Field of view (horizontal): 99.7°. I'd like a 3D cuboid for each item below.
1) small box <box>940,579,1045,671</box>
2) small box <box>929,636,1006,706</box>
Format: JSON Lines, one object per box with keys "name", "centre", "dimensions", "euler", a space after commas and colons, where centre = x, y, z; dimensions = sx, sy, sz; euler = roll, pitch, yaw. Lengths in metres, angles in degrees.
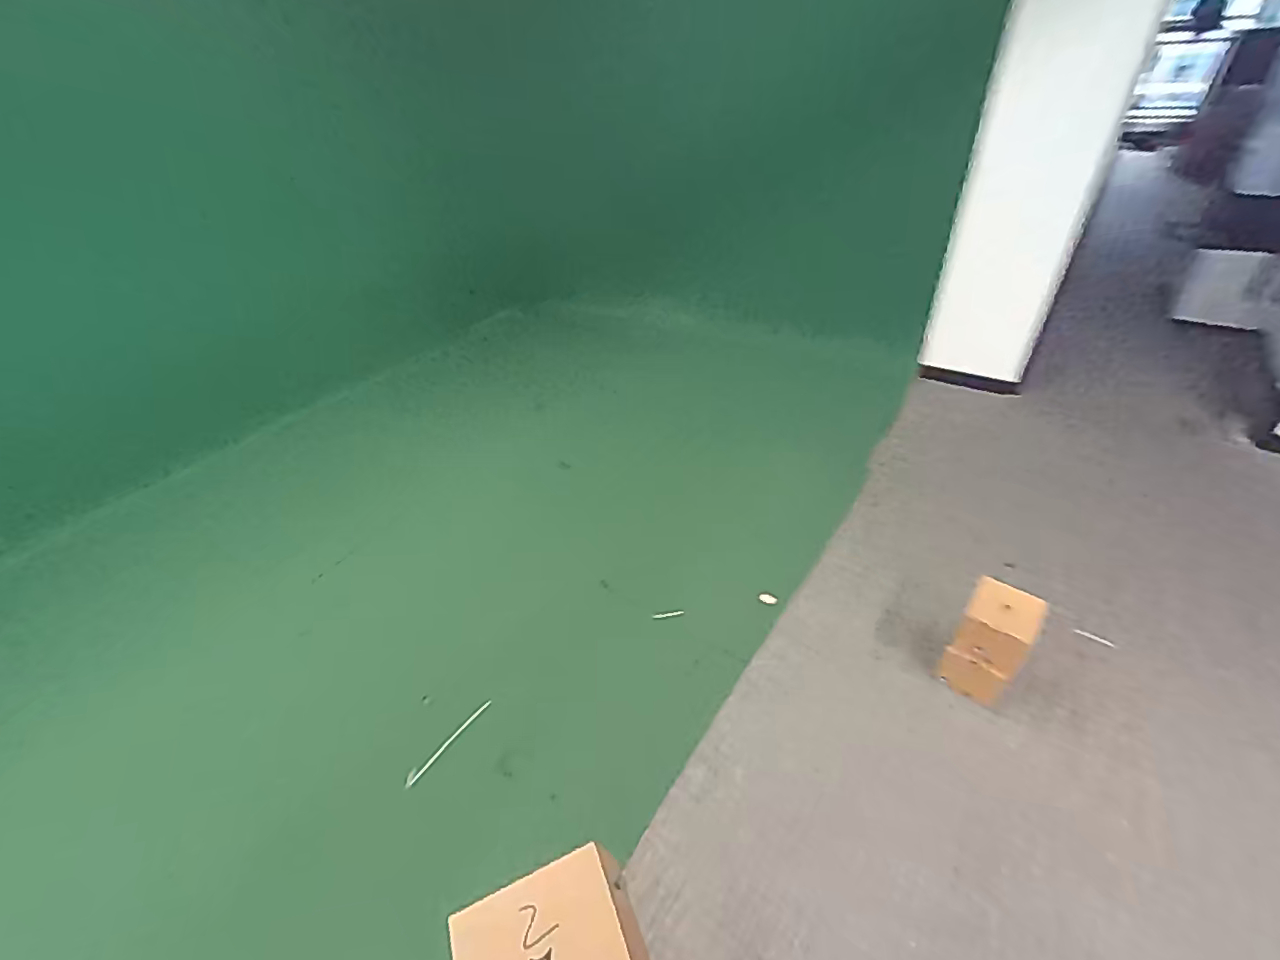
{"name": "small box", "centre": [1.014, 0.426, 1.575], "dimensions": [0.168, 0.176, 0.179], "euler": [-17, 41, -9]}
{"name": "small box", "centre": [1.015, 0.553, 1.663], "dimensions": [0.168, 0.176, 0.179], "euler": [27, 50, 32]}
